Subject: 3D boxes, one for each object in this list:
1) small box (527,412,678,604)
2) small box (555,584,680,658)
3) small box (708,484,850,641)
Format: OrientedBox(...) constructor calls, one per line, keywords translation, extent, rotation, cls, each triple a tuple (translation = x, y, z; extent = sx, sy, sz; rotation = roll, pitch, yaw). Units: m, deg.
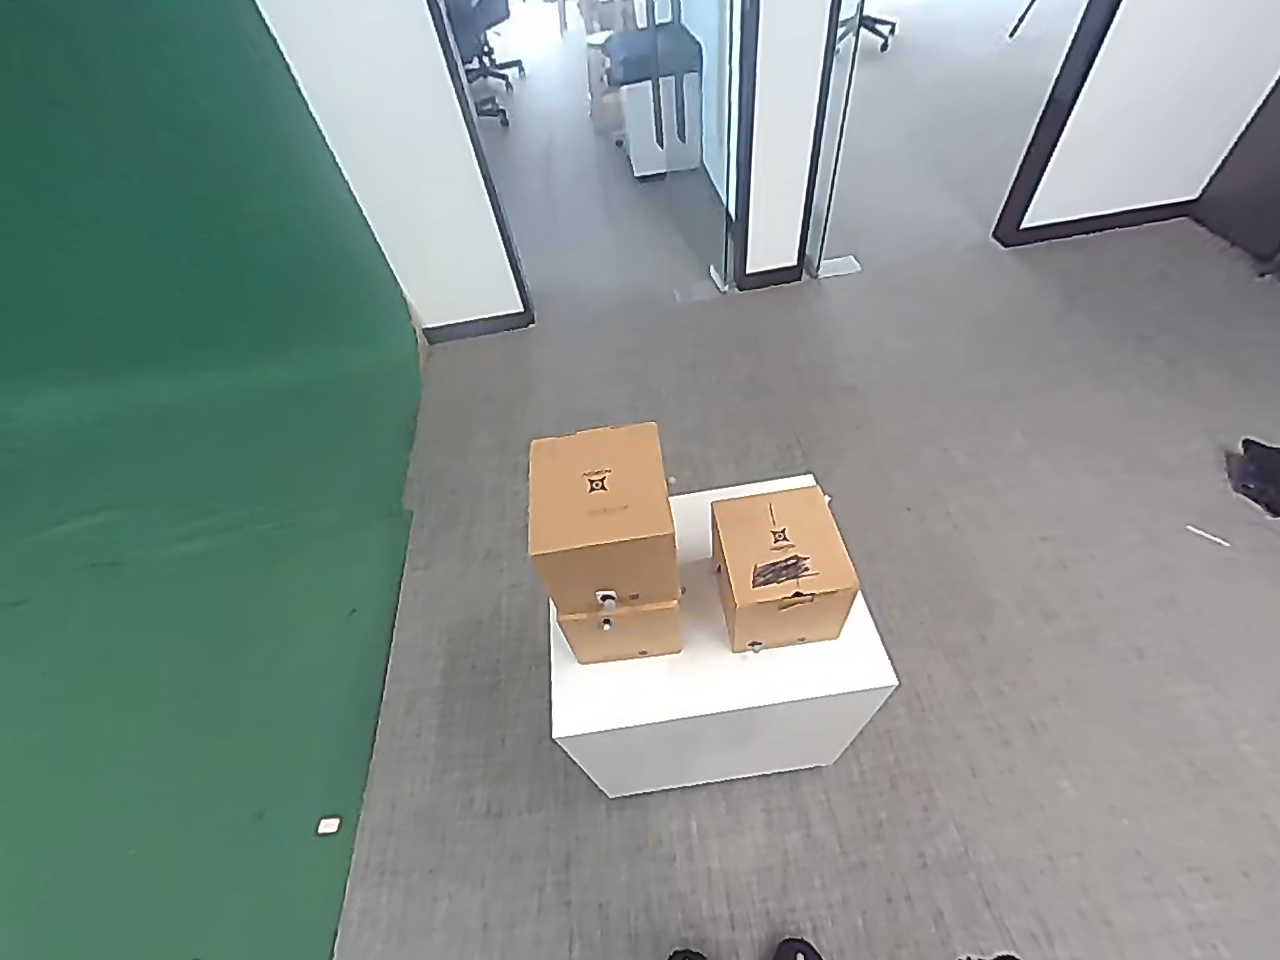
OrientedBox(translation=(-0.045, 0.039, 0.705), extent=(0.168, 0.176, 0.179), rotation=(-9, 53, 1), cls="small box")
OrientedBox(translation=(-0.031, 0.155, 0.839), extent=(0.168, 0.176, 0.179), rotation=(-8, 50, 3), cls="small box")
OrientedBox(translation=(0.201, 0.133, 0.825), extent=(0.168, 0.176, 0.179), rotation=(-8, 50, 2), cls="small box")
